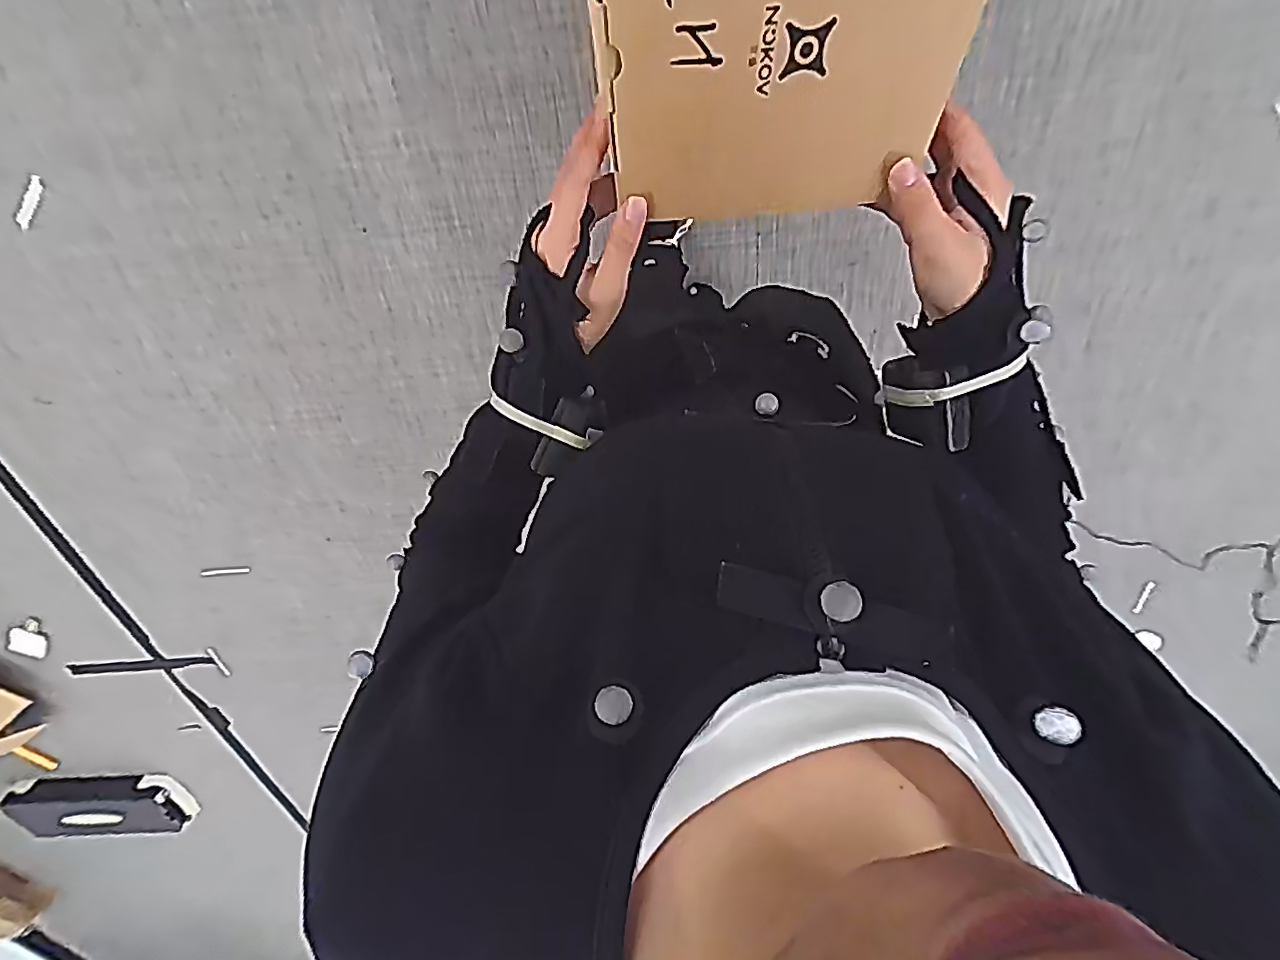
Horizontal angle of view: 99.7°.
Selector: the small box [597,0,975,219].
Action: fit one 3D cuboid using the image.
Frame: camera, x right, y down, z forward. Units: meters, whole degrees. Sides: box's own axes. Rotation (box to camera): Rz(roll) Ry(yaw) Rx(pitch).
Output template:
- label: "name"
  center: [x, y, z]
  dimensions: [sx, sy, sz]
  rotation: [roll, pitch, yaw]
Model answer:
- label: "small box"
  center: [0.064, -0.277, 0.302]
  dimensions: [0.179, 0.176, 0.168]
  rotation: [-4, 148, 1]
